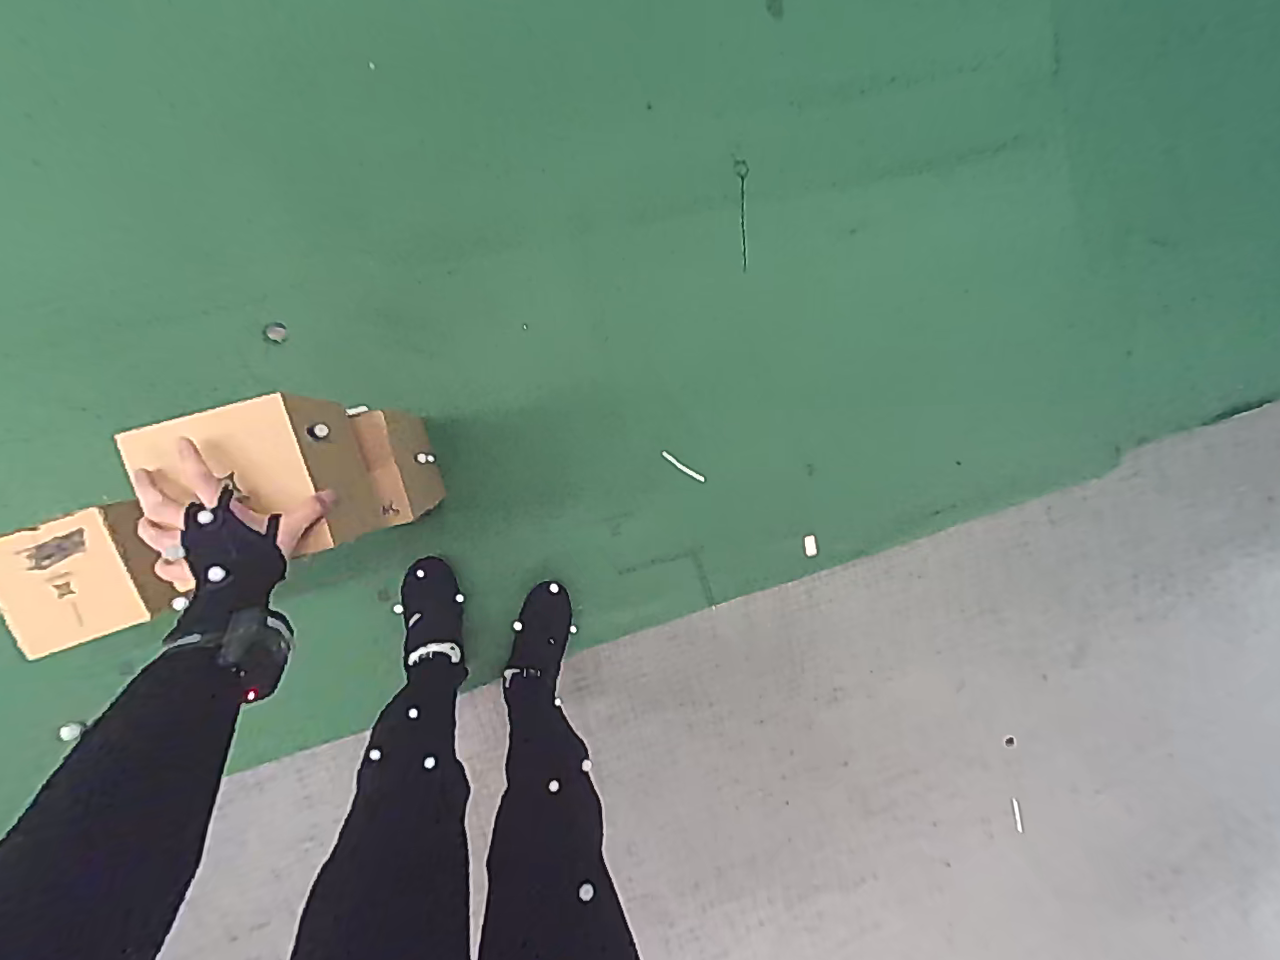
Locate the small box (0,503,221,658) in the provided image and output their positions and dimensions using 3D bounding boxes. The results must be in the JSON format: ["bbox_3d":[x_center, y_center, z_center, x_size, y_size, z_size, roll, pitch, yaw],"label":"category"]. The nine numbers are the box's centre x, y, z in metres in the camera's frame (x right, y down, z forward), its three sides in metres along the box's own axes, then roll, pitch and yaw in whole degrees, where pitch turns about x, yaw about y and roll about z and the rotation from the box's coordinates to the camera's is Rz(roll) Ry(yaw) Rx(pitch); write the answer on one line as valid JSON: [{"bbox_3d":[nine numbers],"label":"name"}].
[{"bbox_3d":[-0.803,0.136,0.830,0.168,0.176,0.179,-19,99,-7],"label":"small box"}]

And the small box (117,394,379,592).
[{"bbox_3d":[-0.441,0.008,0.643,0.168,0.176,0.179,-17,97,-6],"label":"small box"}]

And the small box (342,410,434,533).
[{"bbox_3d":[-0.450,-0.010,0.877,0.168,0.176,0.179,-14,98,-9],"label":"small box"}]
